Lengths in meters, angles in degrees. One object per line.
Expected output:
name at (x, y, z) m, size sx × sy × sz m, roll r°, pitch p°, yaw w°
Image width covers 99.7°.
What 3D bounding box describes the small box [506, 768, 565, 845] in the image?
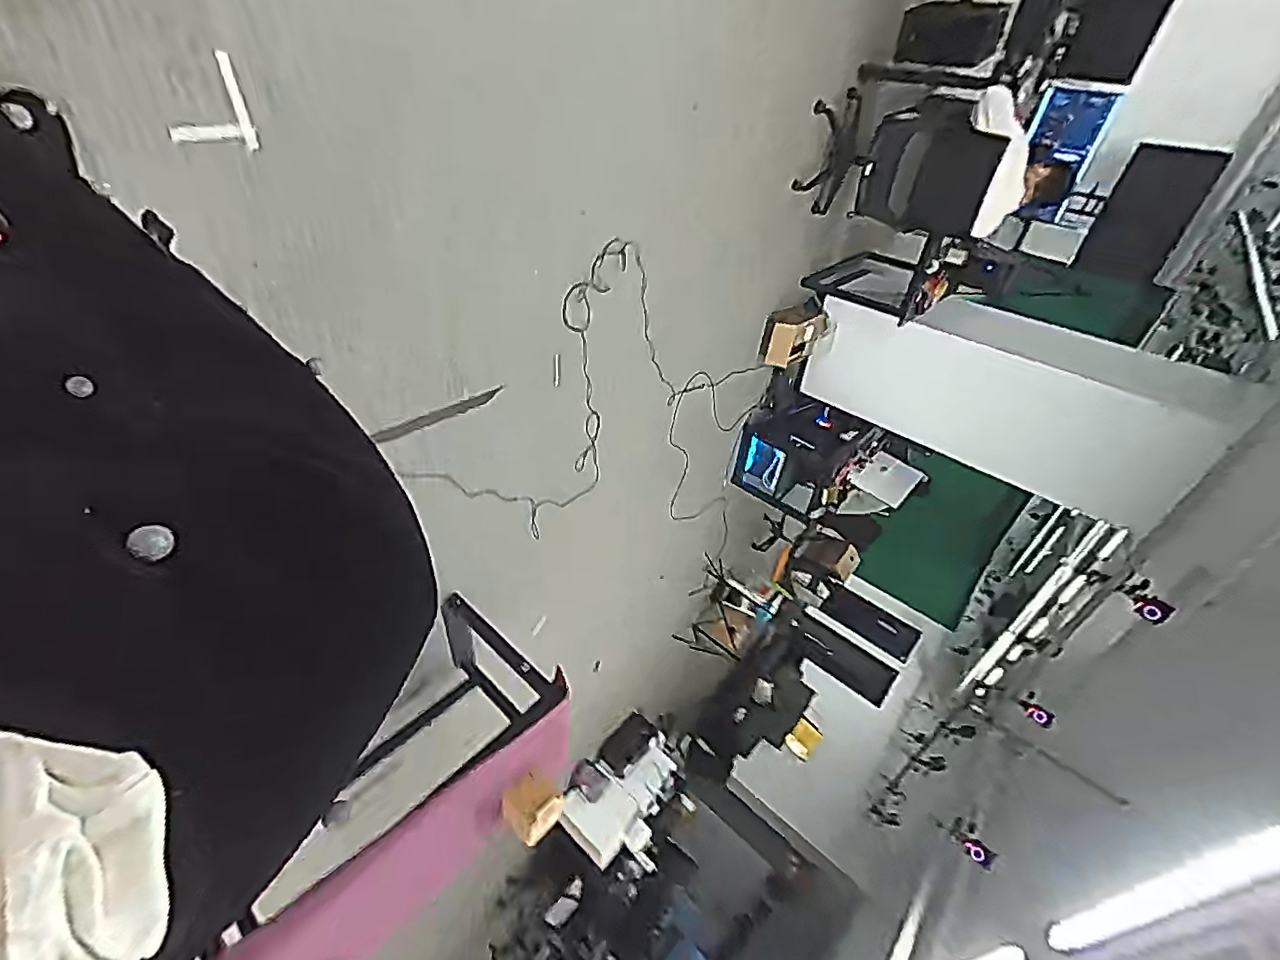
small box at (-0.418, 1.286, 2.146) m, size 0.168 × 0.176 × 0.179 m, roll -28°, pitch 139°, yaw -43°
